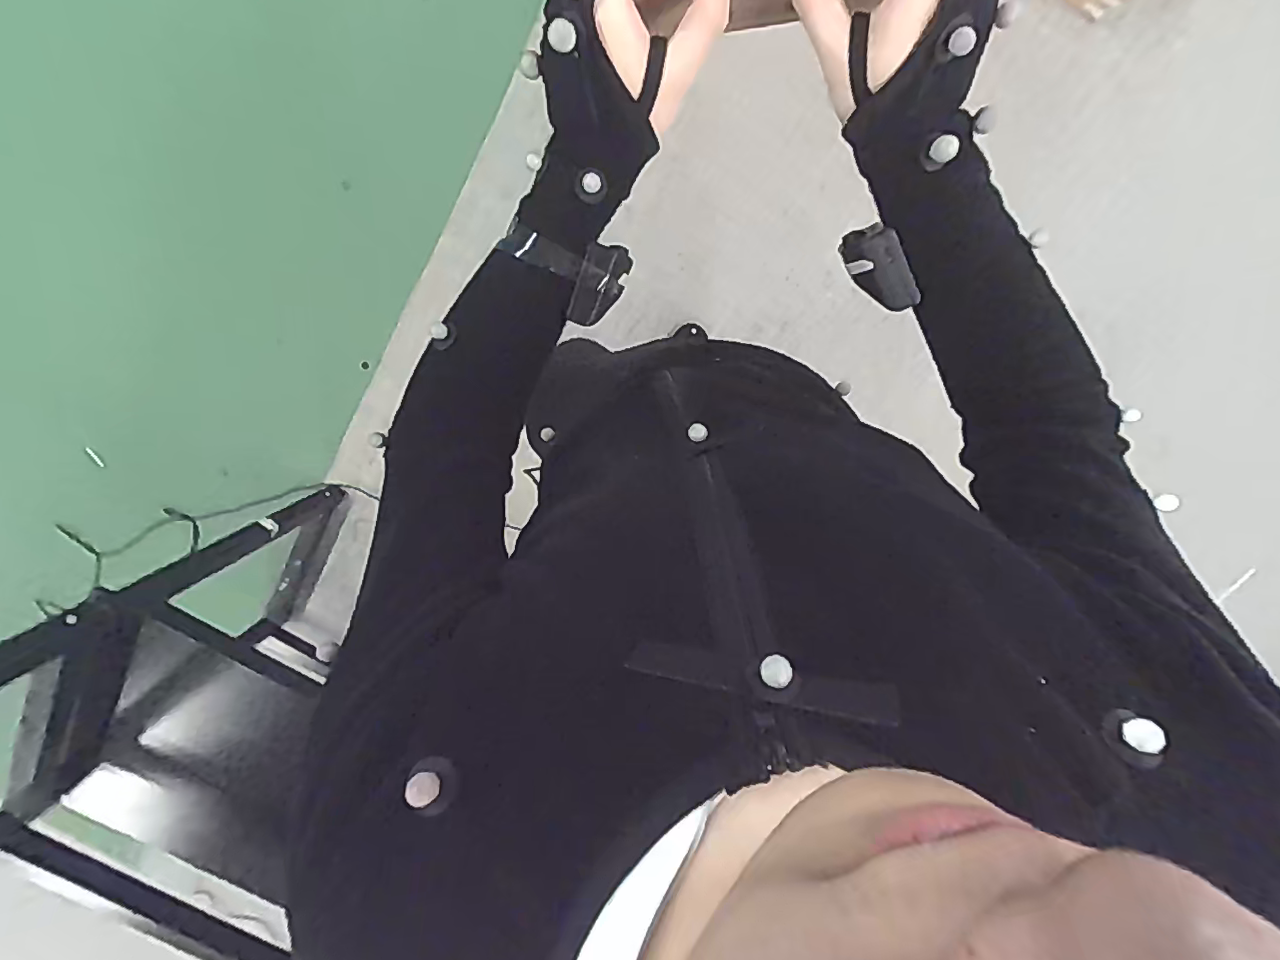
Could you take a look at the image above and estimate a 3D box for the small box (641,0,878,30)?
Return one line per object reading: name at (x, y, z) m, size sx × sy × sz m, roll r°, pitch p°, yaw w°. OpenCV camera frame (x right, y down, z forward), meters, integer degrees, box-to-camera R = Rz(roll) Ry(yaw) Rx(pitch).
small box at (0.070, -0.381, 0.287) m, size 0.168 × 0.176 × 0.179 m, roll 1°, pitch 105°, yaw 10°
